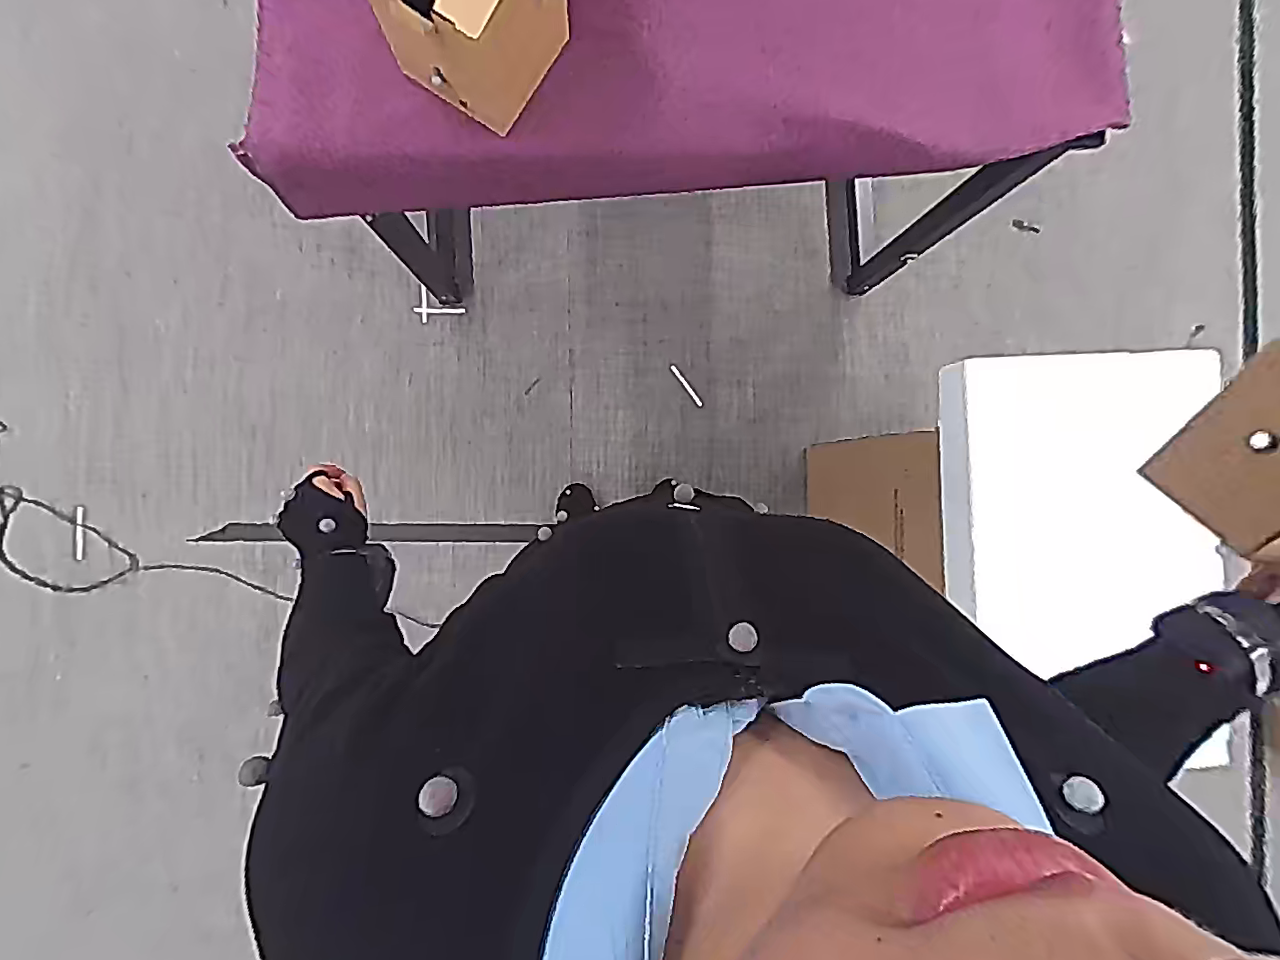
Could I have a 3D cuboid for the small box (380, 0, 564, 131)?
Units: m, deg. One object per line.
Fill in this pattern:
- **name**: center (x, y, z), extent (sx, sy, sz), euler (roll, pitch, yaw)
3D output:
- **small box**: center (-0.207, -0.596, 0.674), extent (0.168, 0.176, 0.179), euler (32, 87, -2)
